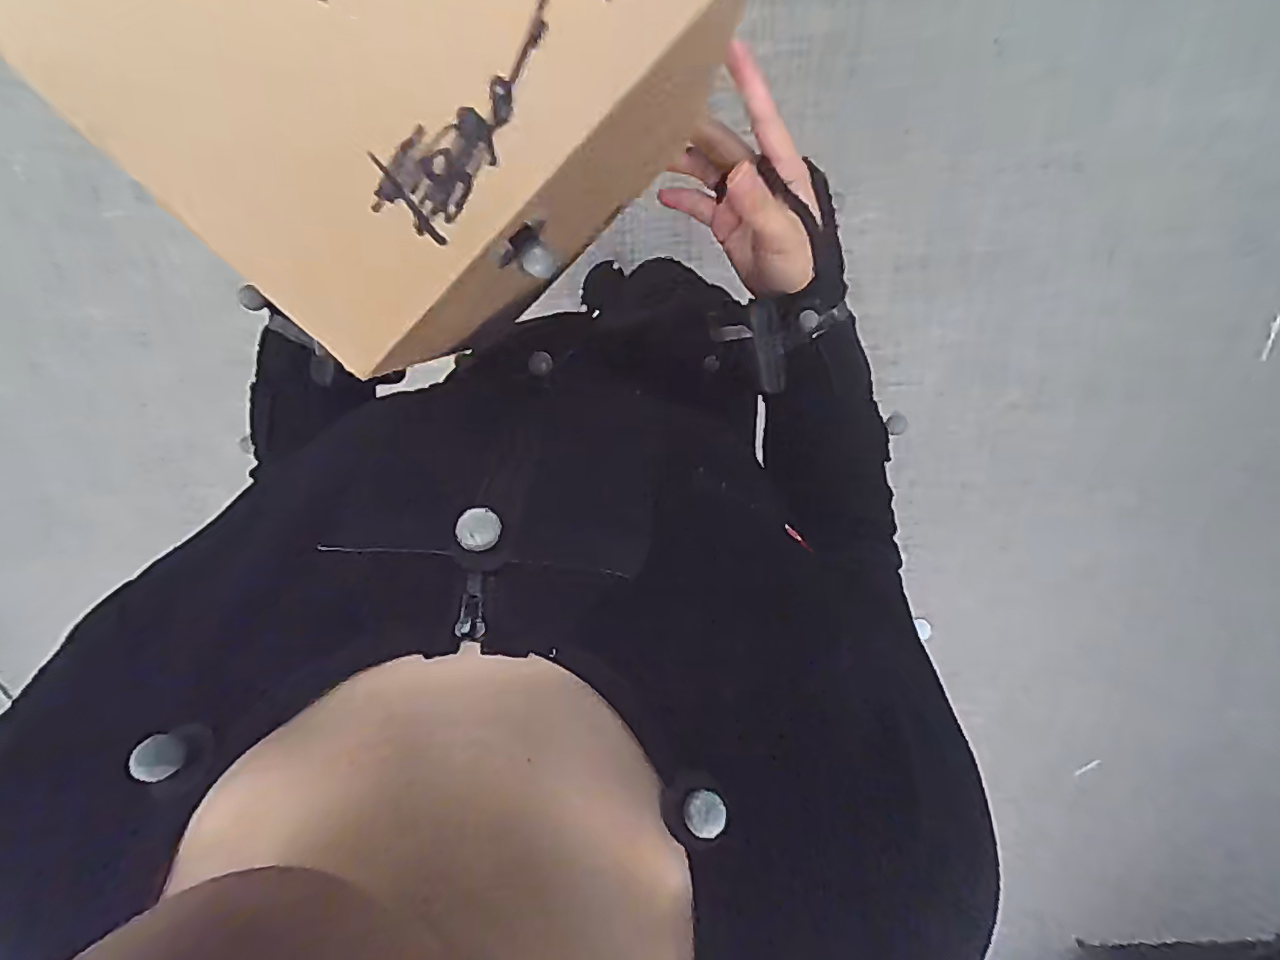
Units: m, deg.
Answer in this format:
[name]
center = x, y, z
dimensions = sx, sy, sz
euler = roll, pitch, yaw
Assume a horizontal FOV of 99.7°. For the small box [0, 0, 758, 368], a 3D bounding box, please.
[small box]
center = -0.081, -0.168, 0.222
dimensions = 0.168, 0.176, 0.179
euler = -43, 103, 12
